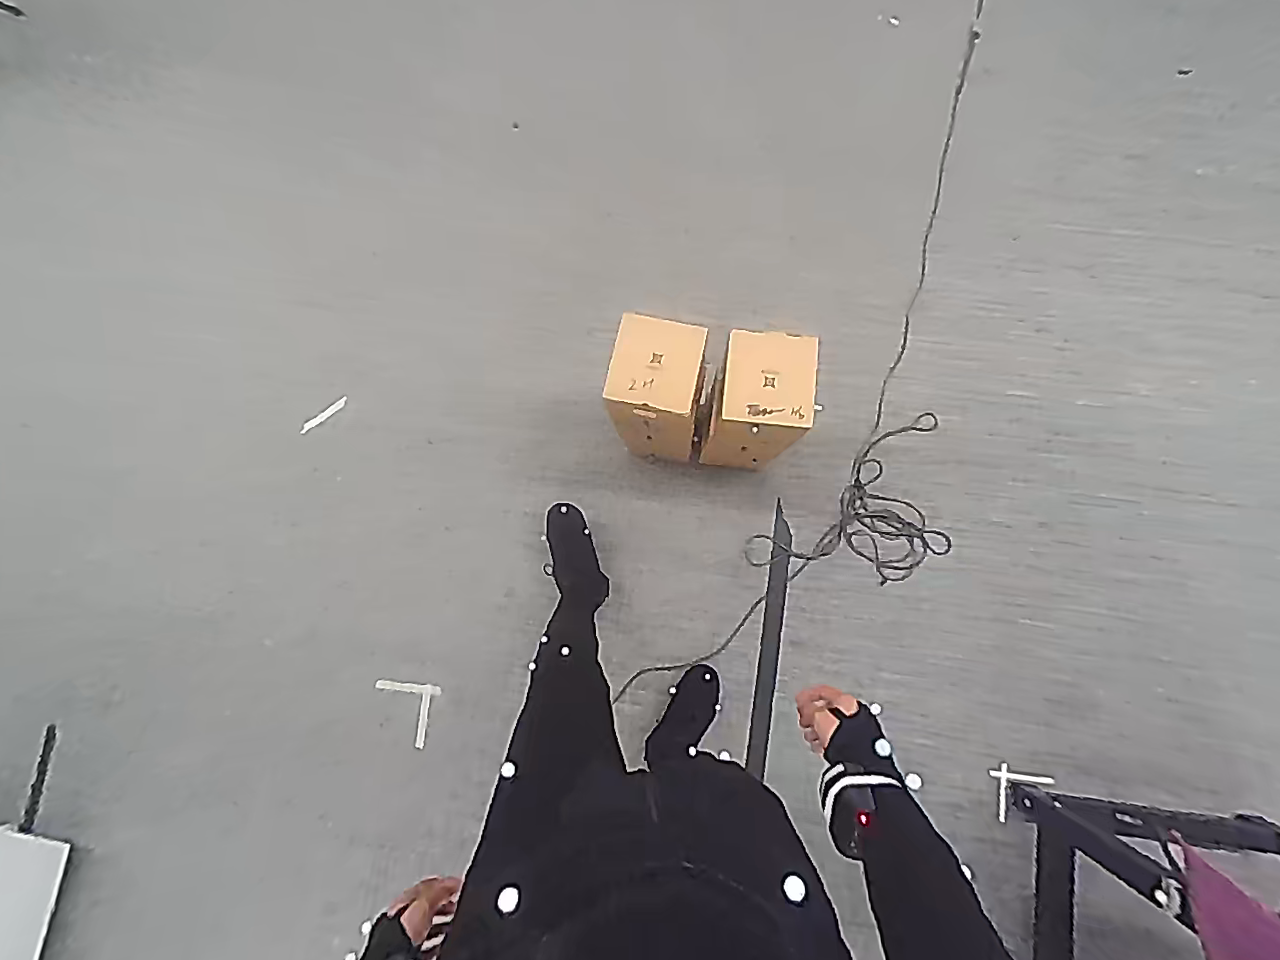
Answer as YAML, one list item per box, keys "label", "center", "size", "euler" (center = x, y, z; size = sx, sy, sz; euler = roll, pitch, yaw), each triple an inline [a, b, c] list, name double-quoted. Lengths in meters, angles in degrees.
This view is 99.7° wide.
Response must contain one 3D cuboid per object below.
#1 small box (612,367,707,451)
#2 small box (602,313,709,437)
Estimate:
- label: "small box"
  center: [0.048, -0.168, 1.227]
  size: [0.179, 0.176, 0.168]
  euler: [11, 83, 6]
- label: "small box"
  center: [0.033, -0.200, 1.065]
  size: [0.168, 0.176, 0.179]
  euler: [12, 83, 6]
